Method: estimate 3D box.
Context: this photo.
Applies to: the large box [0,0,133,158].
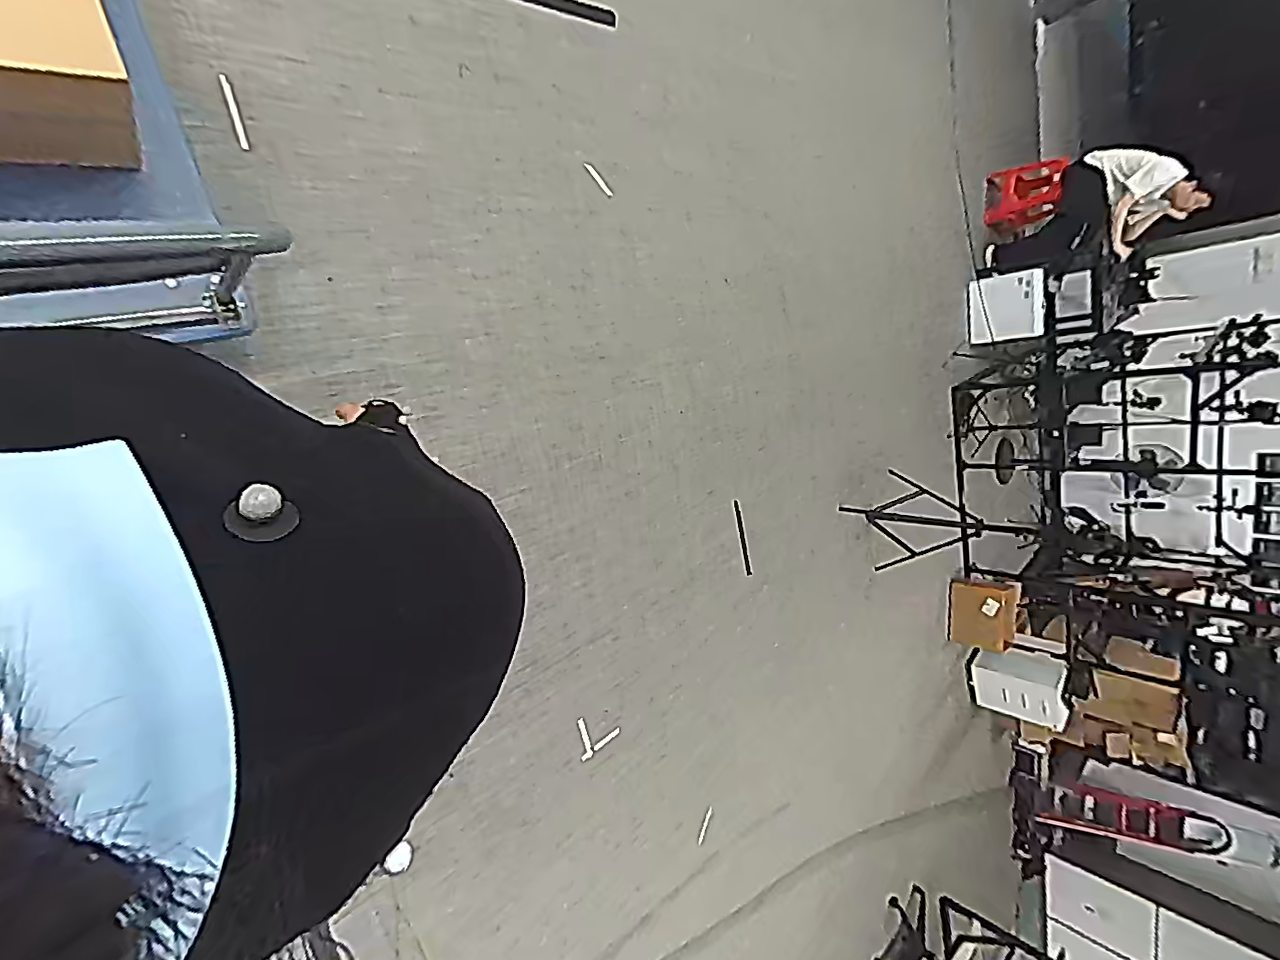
[{"bbox_3d":[-0.992,-0.650,0.706,0.408,0.320,0.320,-22,106,-37],"label":"large box"}]
